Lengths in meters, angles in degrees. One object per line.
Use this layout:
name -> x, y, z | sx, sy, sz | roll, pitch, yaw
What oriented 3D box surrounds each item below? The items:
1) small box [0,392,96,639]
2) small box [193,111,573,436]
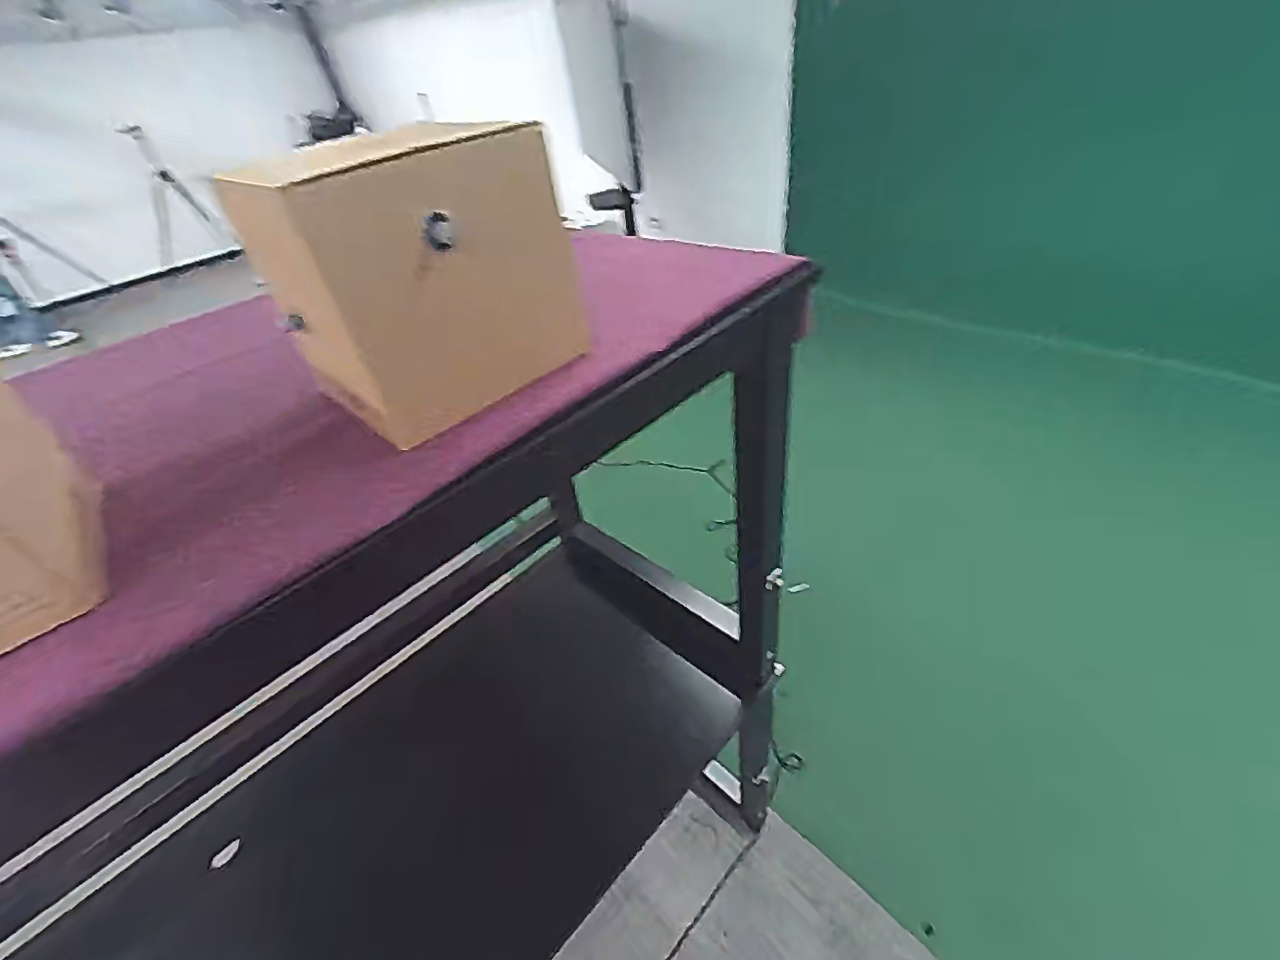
small box -> -0.419, 0.012, 0.250 | 0.179, 0.176, 0.168 | -35, 44, -27
small box -> -0.174, -0.157, 0.406 | 0.168, 0.176, 0.179 | 28, 52, 37
